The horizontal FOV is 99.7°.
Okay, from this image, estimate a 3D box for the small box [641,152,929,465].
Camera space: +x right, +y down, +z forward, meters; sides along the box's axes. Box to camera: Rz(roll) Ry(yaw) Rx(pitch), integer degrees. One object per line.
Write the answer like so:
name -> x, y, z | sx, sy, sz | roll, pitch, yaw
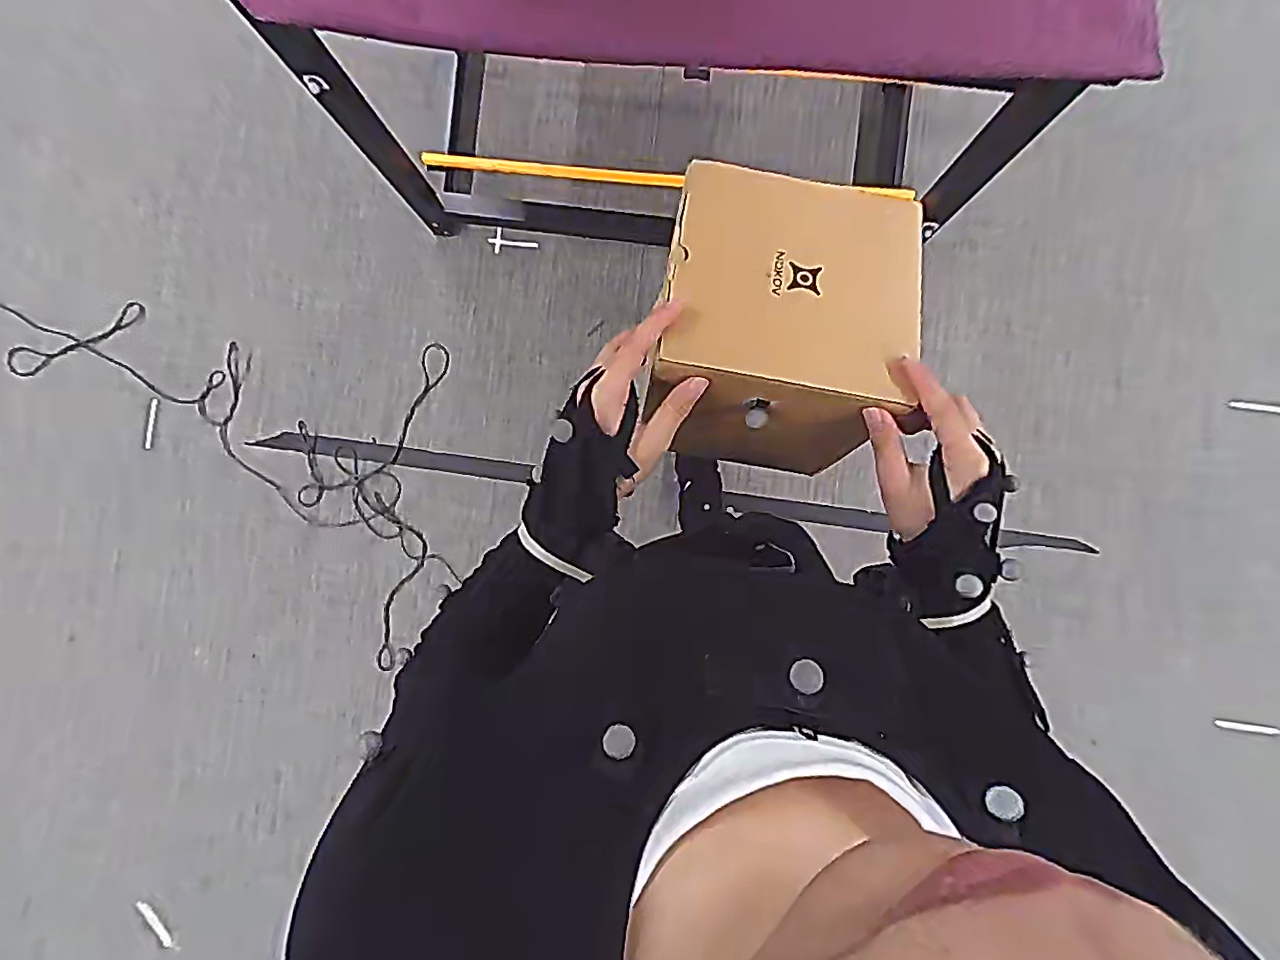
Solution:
small box -> 0.103, -0.120, 0.441 | 0.179, 0.176, 0.168 | 10, 74, -2
